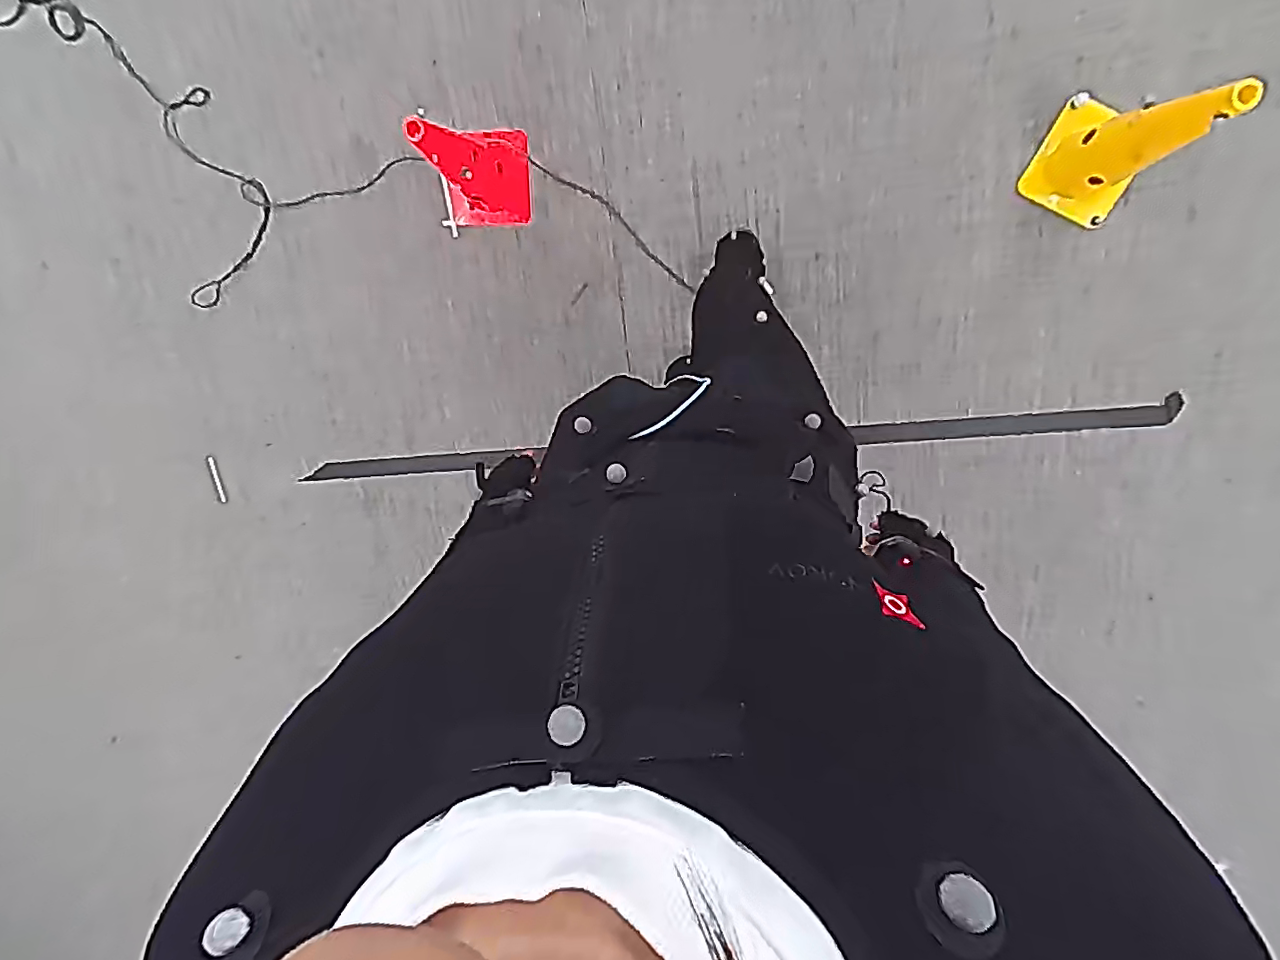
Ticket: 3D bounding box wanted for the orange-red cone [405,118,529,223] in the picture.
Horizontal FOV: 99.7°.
[{"bbox_3d":[-0.375,-0.664,1.110,0.199,0.360,0.198,3,107,5],"label":"orange-red cone"}]
